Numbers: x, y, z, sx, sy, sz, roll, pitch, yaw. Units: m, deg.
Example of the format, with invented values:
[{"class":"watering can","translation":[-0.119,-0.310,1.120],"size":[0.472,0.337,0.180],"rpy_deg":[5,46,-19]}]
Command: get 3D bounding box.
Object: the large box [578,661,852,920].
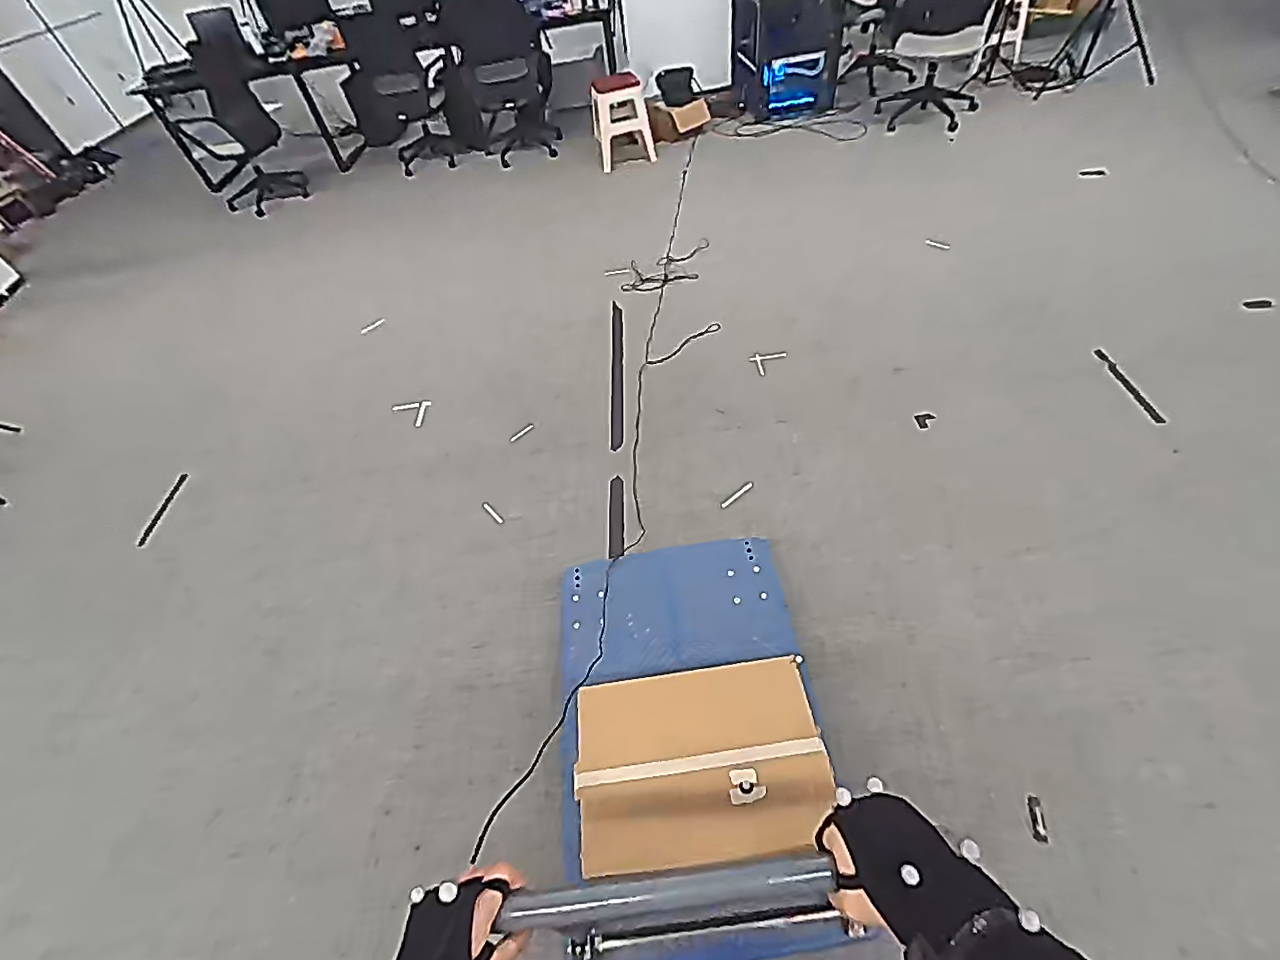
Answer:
[{"class":"large box","translation":[0.114,0.572,0.992],"size":[0.408,0.320,0.320],"rpy_deg":[-9,48,1]}]
